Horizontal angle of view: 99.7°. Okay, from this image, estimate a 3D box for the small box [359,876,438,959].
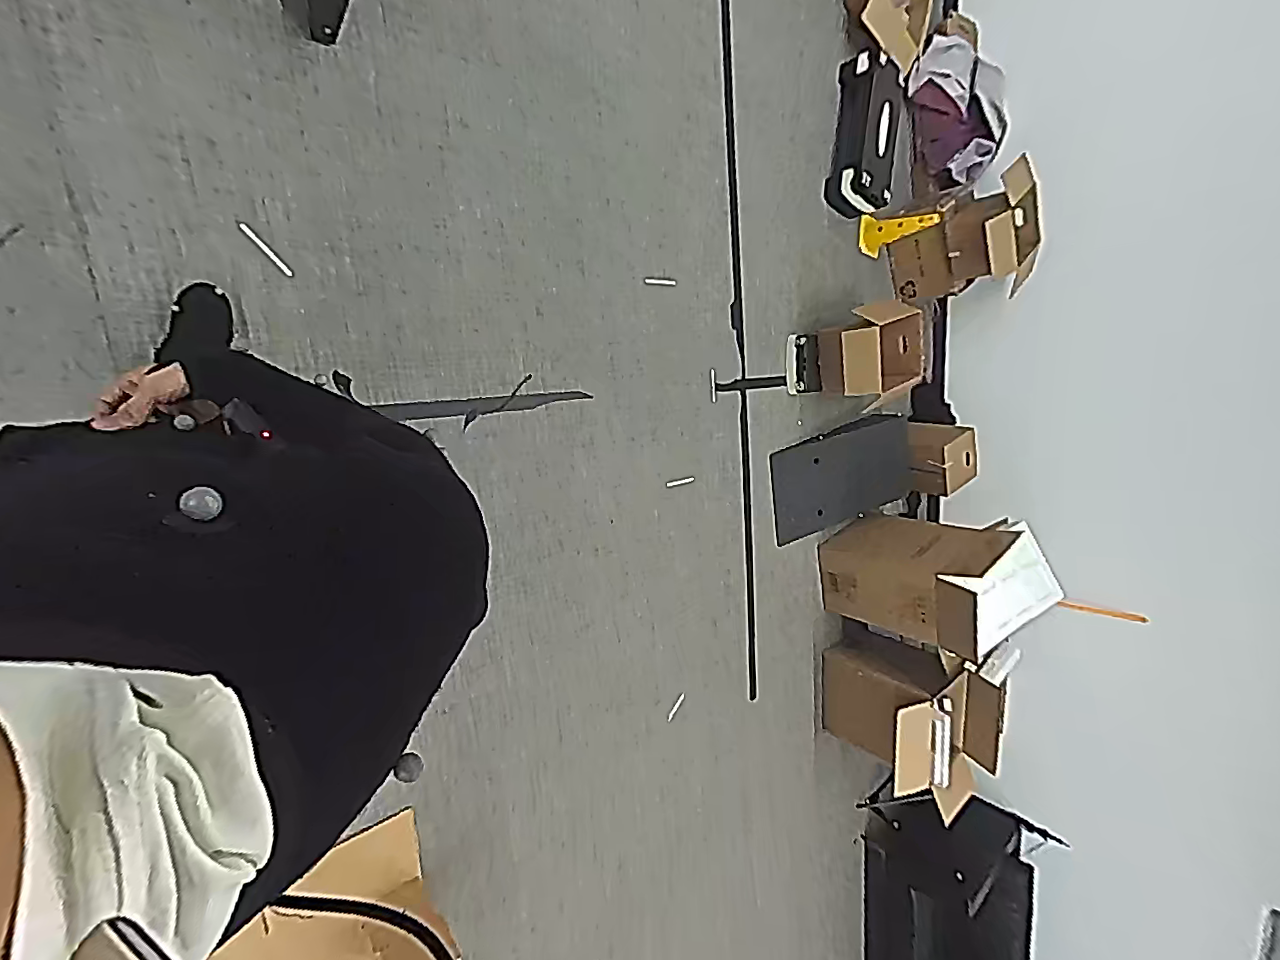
[{"bbox_3d":[-0.730,1.358,1.625,0.179,0.176,0.168,-12,104,-39],"label":"small box"}]
